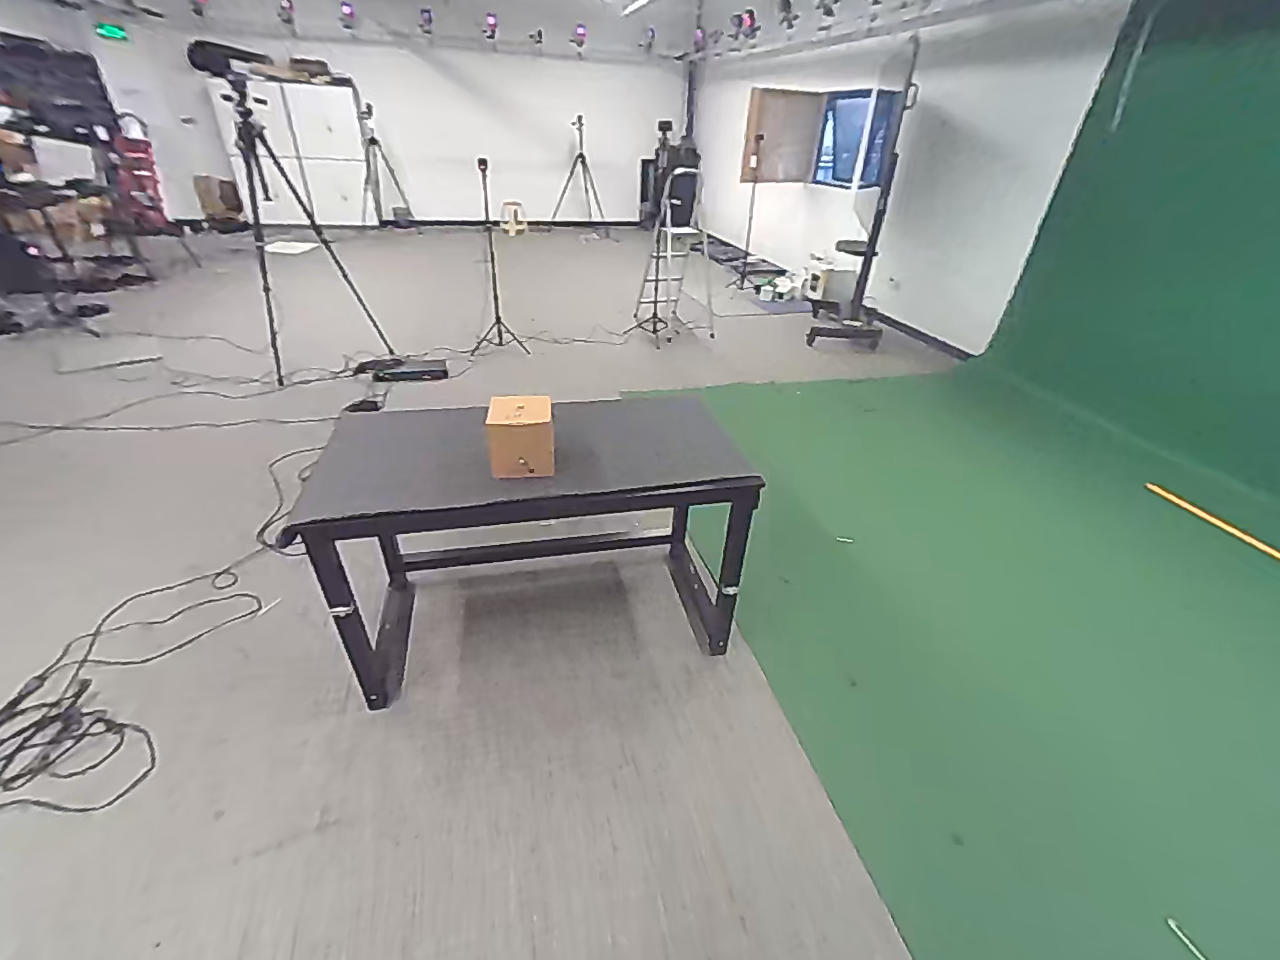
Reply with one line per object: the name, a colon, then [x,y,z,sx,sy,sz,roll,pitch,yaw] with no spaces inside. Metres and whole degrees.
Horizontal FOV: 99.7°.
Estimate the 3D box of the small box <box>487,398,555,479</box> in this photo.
small box: [-0.323,-0.116,1.498,0.168,0.176,0.179,-3,32,-8]
